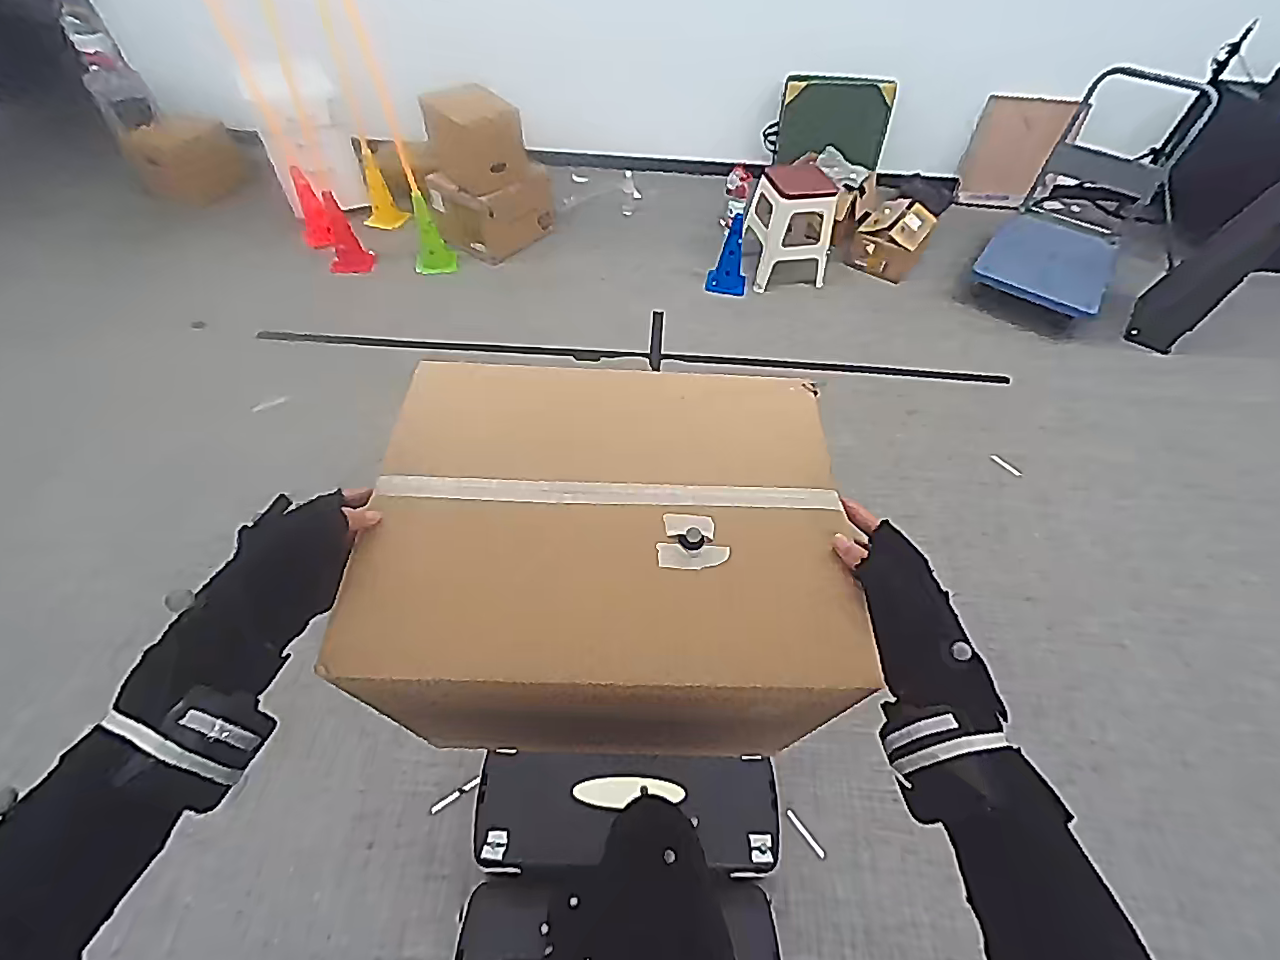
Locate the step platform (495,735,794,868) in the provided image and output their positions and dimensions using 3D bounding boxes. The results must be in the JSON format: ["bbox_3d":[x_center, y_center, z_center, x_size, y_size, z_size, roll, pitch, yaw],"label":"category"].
[{"bbox_3d":[0.010,0.742,1.283,0.684,0.204,0.286,2,52,-3],"label":"step platform"}]

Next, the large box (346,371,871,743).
[{"bbox_3d":[-0.029,0.101,0.608,0.408,0.320,0.320,2,56,-3],"label":"large box"}]
